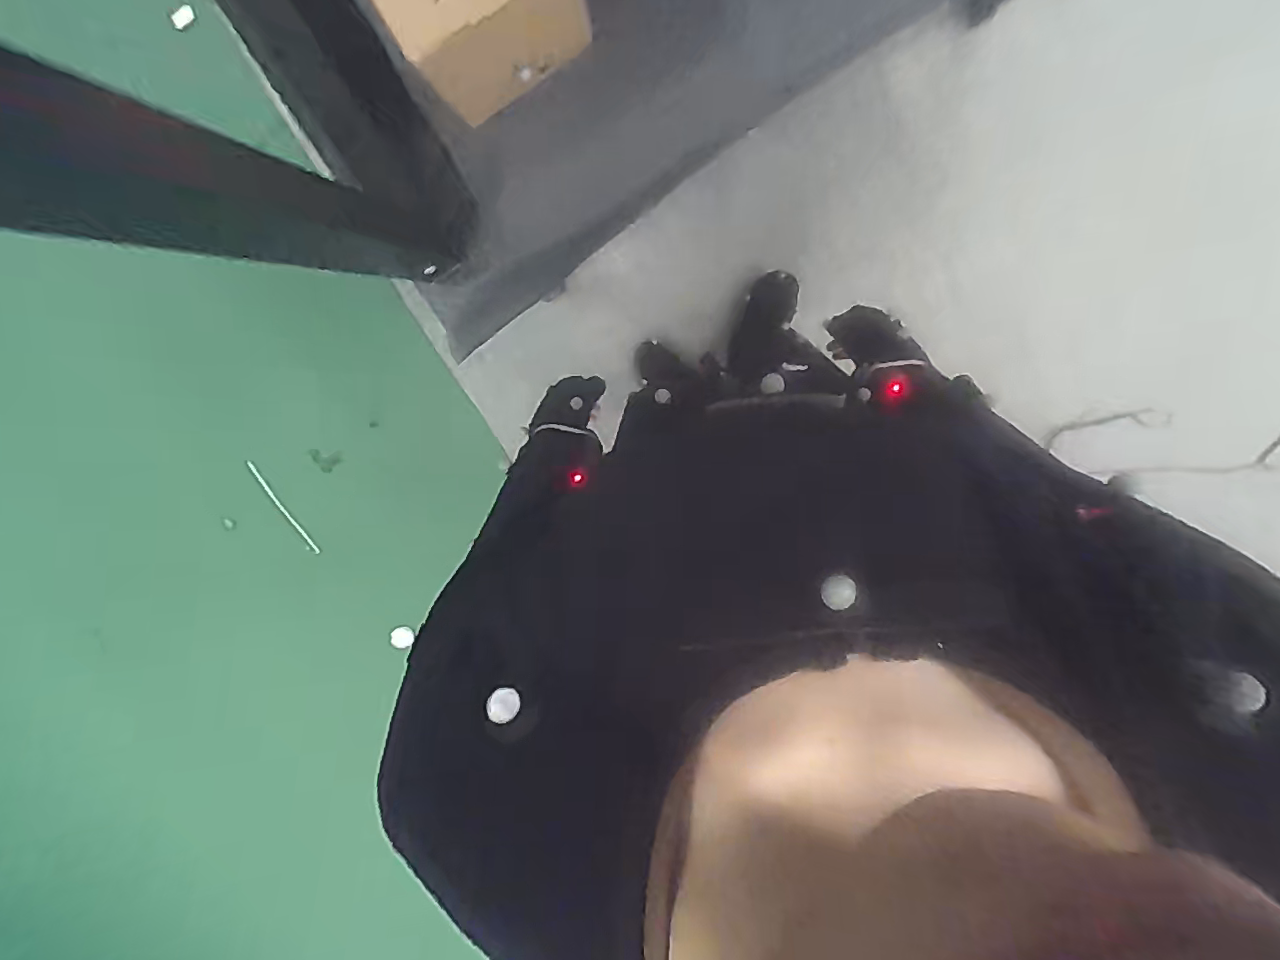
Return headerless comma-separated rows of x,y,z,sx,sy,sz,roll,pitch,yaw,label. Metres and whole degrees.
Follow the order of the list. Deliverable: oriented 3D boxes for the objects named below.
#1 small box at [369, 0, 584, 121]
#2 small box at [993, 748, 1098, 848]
-0.171,-0.490,0.508,0.168,0.176,0.179,-29,103,10,small box
1.245,0.976,1.669,0.168,0.176,0.179,-32,102,10,small box
